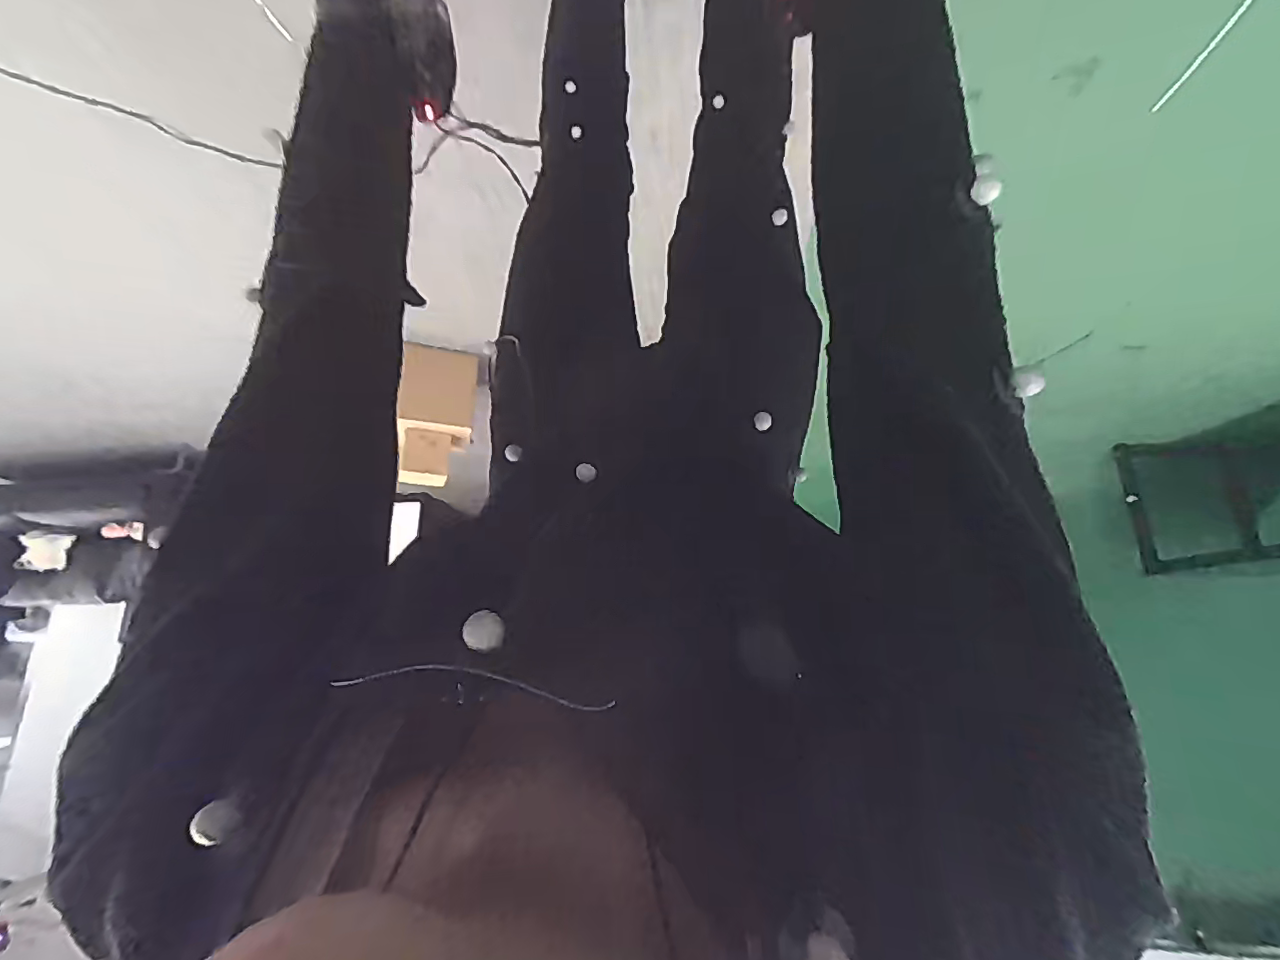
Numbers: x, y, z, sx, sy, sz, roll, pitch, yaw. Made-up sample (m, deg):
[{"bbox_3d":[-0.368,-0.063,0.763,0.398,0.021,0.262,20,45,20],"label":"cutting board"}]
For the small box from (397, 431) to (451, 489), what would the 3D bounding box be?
[{"bbox_3d":[-0.825,-0.072,2.065,0.168,0.176,0.179,8,163,-24],"label":"small box"}]

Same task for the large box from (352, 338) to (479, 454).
[{"bbox_3d":[-0.860,-0.313,2.109,0.408,0.320,0.320,8,162,-20],"label":"large box"}]
